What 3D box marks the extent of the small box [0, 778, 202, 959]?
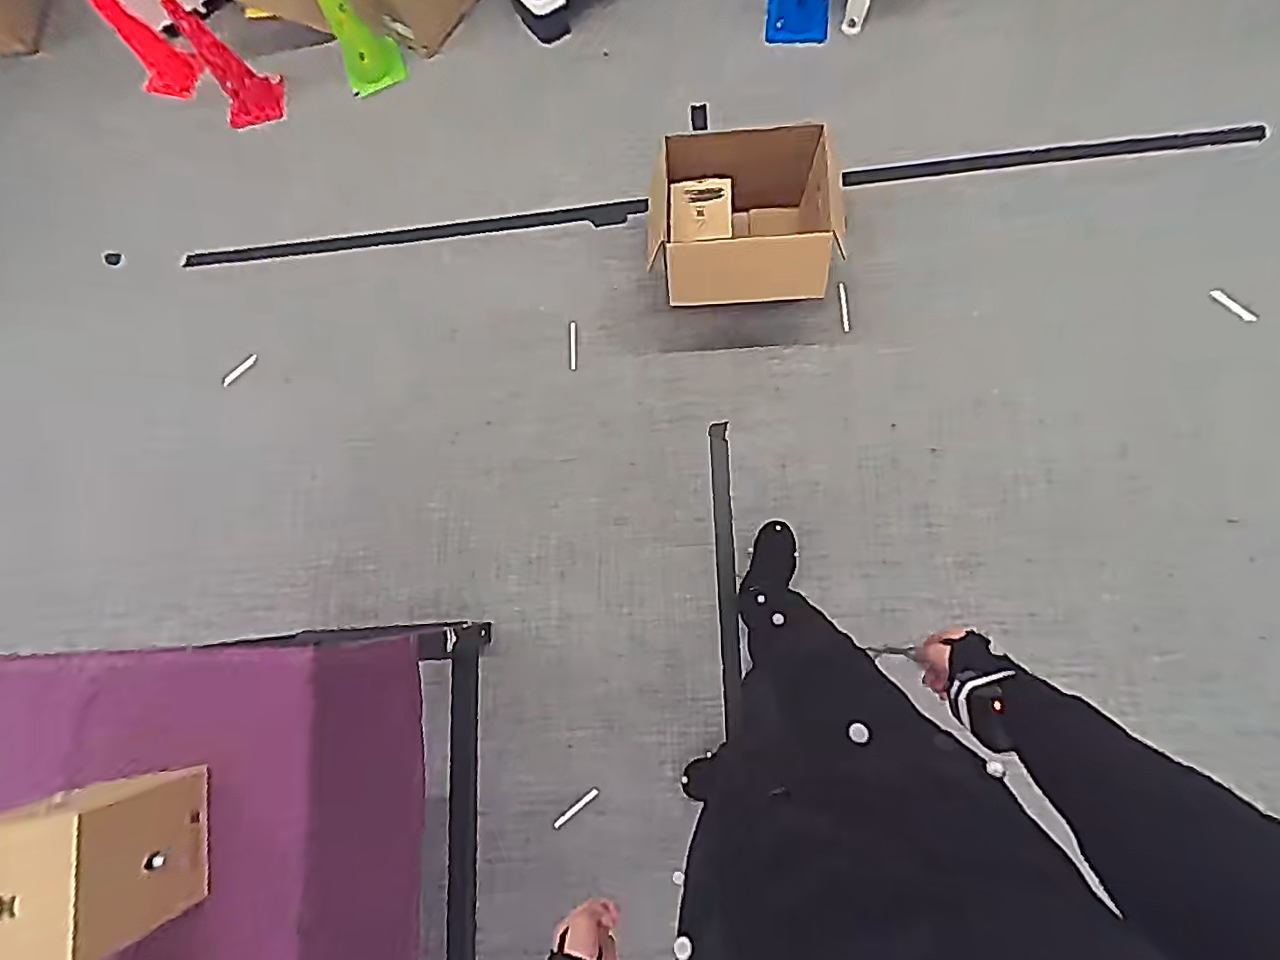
[{"bbox_3d":[-0.685,0.490,0.665,0.179,0.176,0.168,-11,78,4],"label":"small box"}]
